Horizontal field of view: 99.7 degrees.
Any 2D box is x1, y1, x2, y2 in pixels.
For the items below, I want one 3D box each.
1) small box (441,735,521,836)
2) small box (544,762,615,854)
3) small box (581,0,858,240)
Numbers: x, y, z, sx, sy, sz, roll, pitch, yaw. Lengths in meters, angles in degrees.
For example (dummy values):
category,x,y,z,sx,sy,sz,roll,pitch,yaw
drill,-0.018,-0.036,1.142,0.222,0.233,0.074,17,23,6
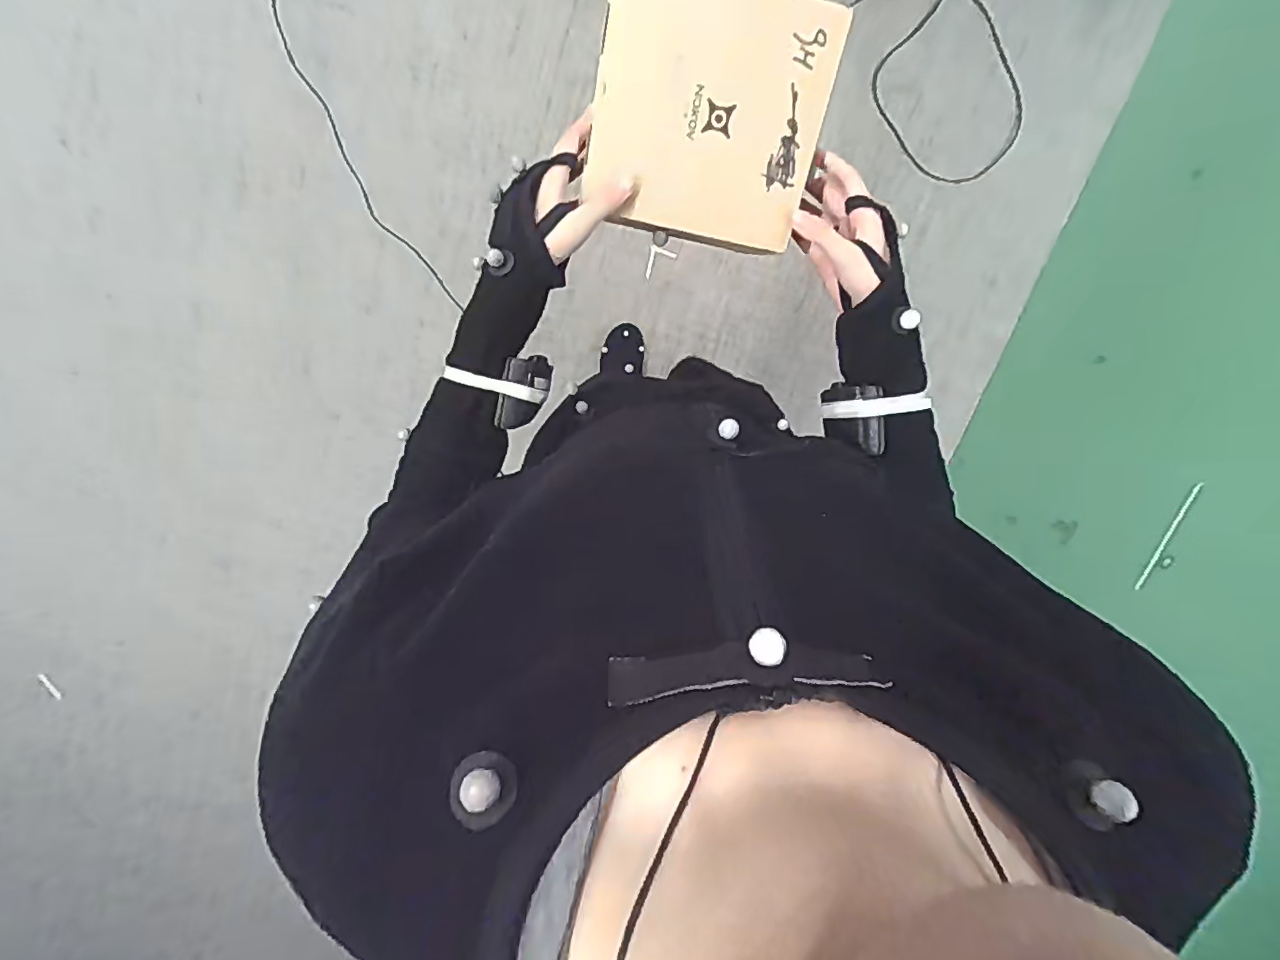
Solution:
category,x,y,z,sx,sy,sz,roll,pitch,yaw
small box,-0.474,0.921,1.639,0.168,0.176,0.179,26,101,-10
small box,-0.185,1.012,1.681,0.179,0.176,0.168,16,103,-8
small box,0.056,-0.317,0.478,0.179,0.176,0.168,11,112,-3
